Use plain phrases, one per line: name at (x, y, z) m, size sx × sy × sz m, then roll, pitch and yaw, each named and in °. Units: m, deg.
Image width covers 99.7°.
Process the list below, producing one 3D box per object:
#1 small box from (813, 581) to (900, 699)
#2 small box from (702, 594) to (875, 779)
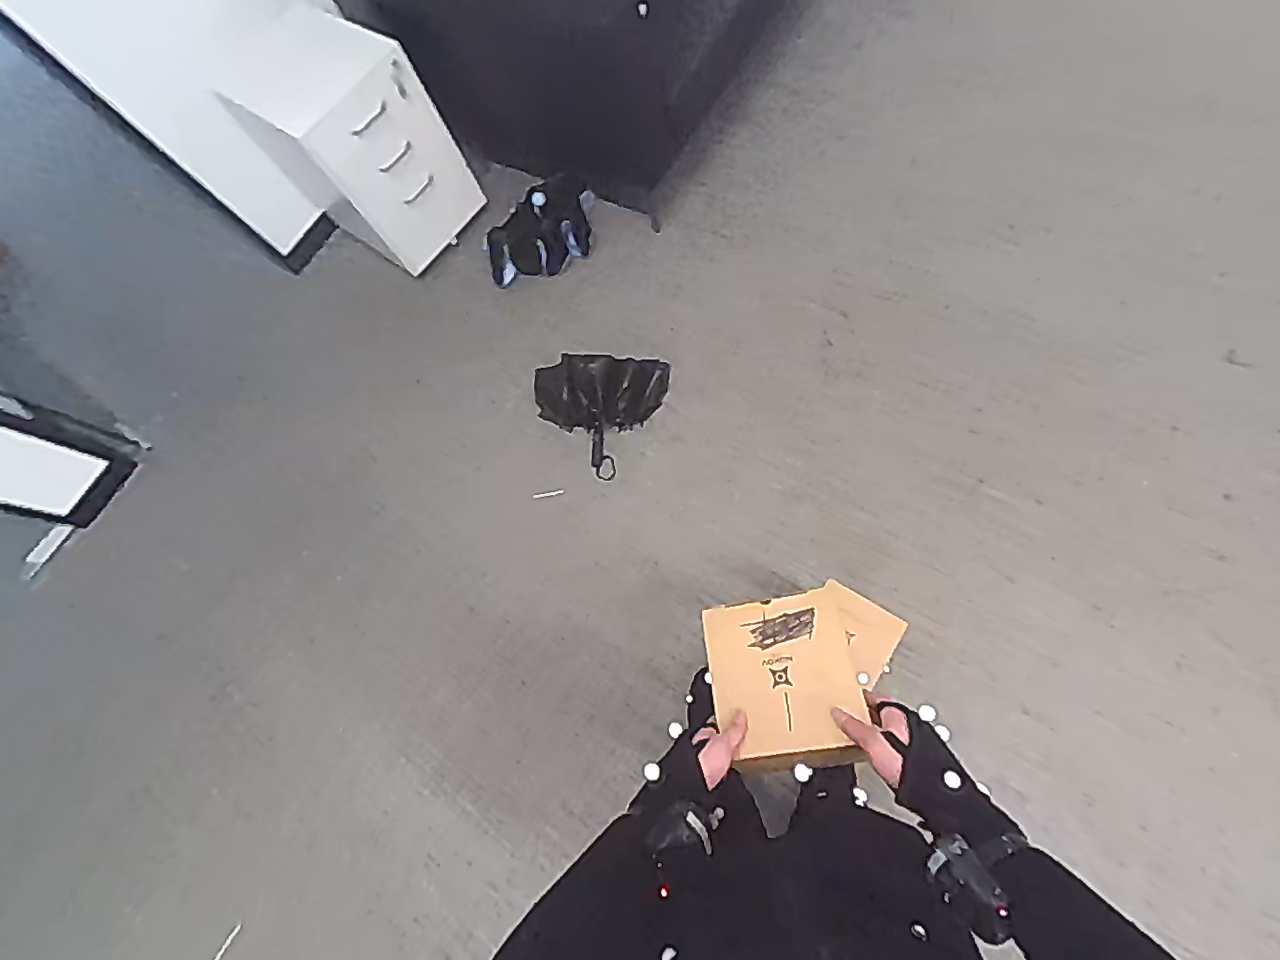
small box at (0.405, 0.338, 1.121) m, size 0.168 × 0.176 × 0.179 m, roll 31°, pitch 78°, yaw 19°
small box at (0.186, 0.270, 0.692) m, size 0.168 × 0.176 × 0.179 m, roll -14°, pitch 55°, yaw 12°
